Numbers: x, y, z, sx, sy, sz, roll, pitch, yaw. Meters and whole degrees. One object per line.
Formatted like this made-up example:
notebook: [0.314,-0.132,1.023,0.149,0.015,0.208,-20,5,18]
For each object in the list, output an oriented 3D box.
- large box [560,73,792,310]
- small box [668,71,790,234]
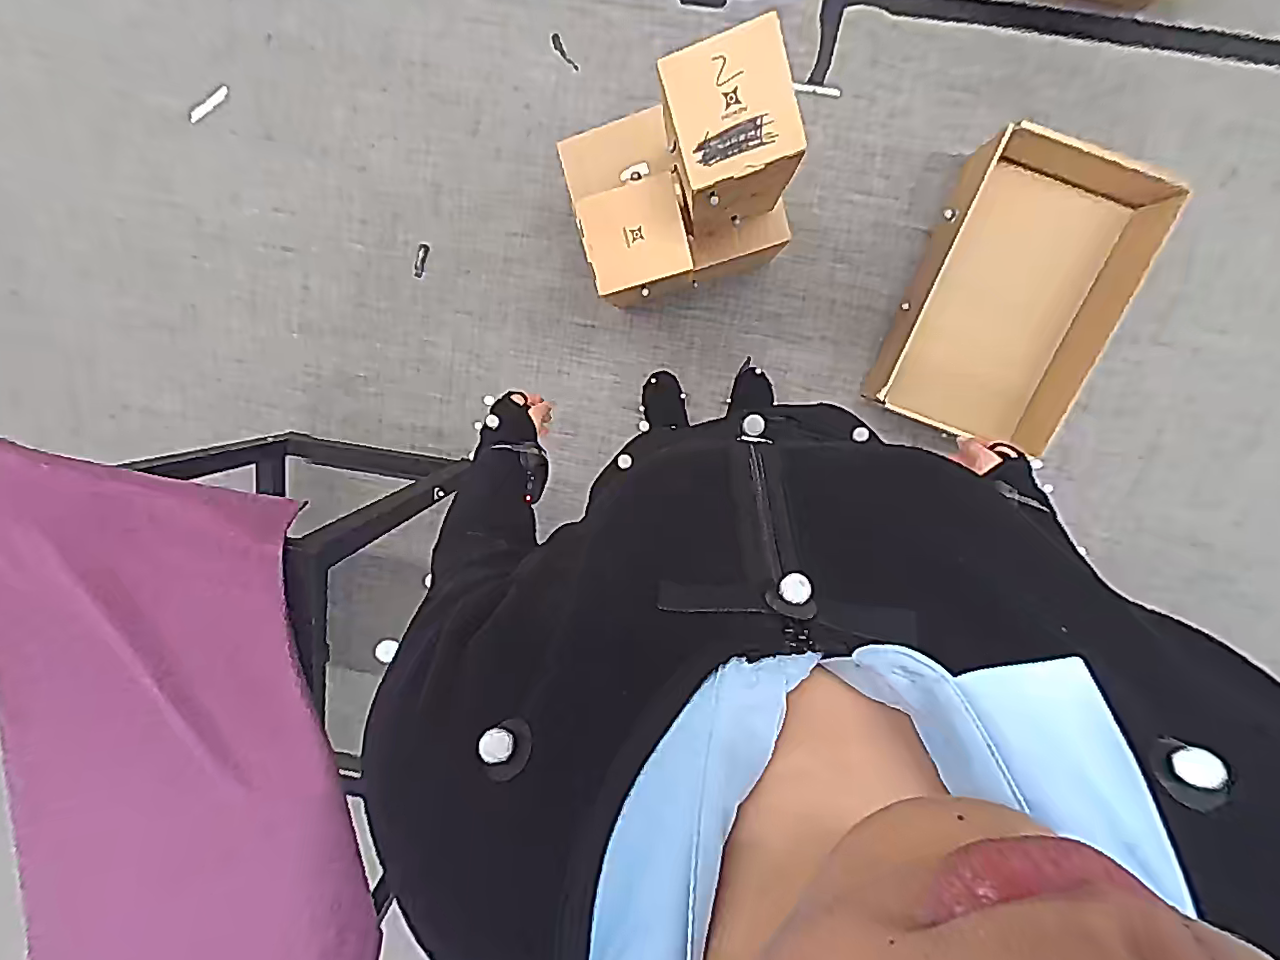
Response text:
large box: [0.086,-0.602,1.212,0.408,0.320,0.320,-15,101,10]
small box: [0.153,-0.566,0.961,0.168,0.176,0.179,-16,102,10]
